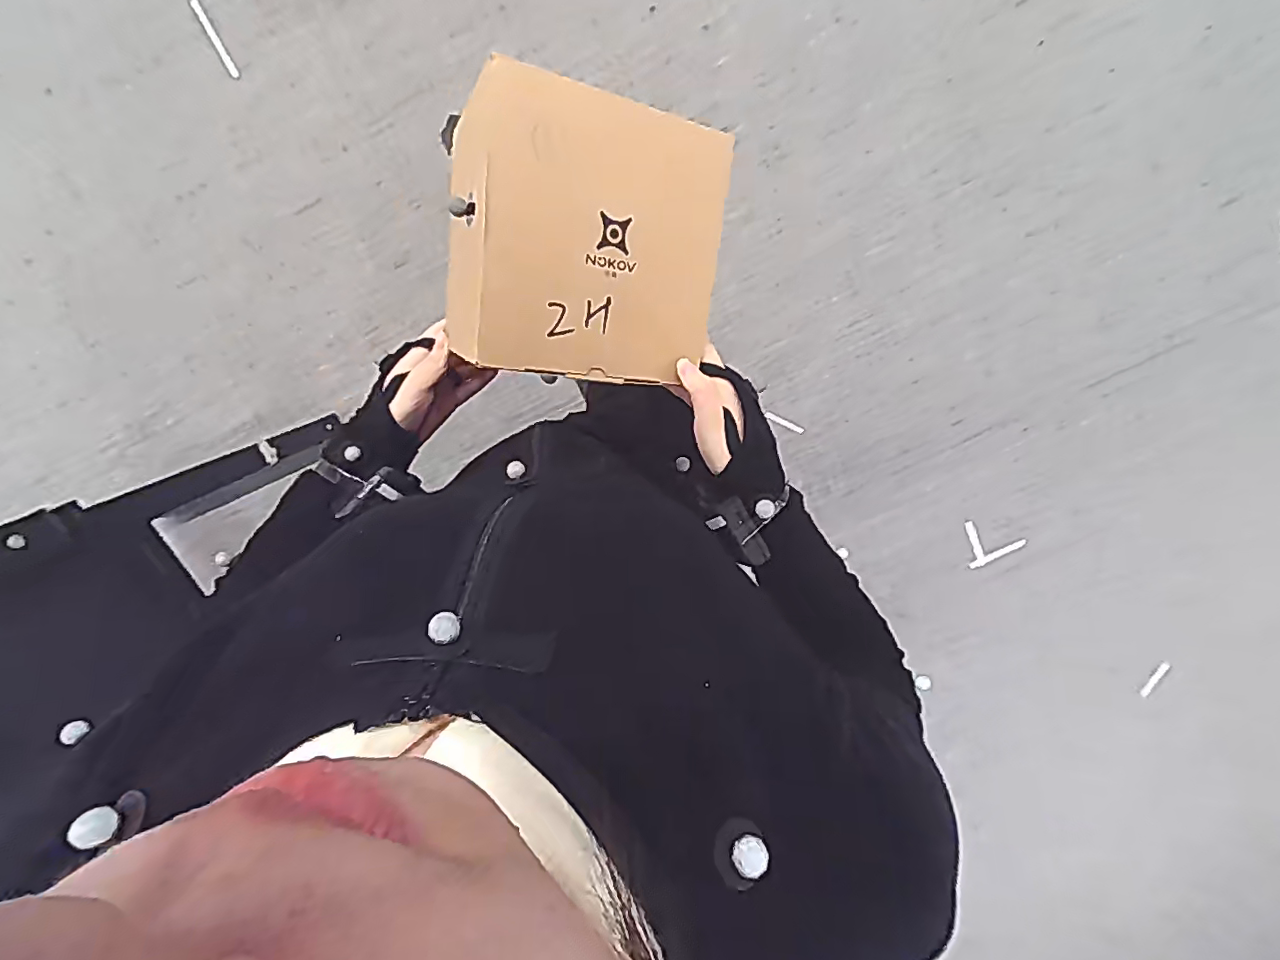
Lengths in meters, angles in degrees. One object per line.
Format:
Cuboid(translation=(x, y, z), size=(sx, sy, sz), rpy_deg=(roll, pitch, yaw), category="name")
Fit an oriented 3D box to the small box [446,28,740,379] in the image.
Cuboid(translation=(-0.051, -0.182, 0.415), size=(0.168, 0.176, 0.179), rpy_deg=(1, 106, -27), category="small box")
